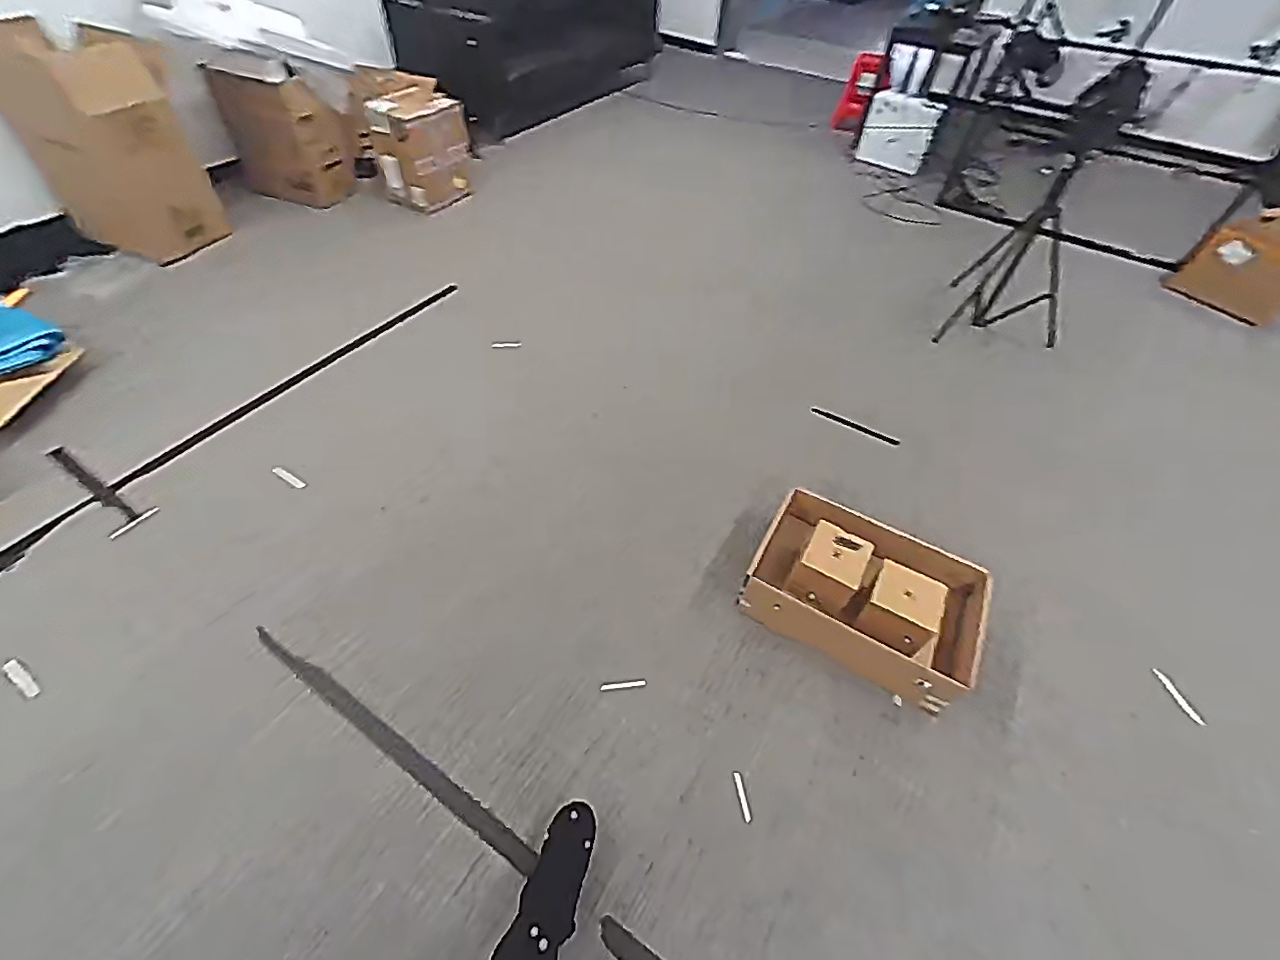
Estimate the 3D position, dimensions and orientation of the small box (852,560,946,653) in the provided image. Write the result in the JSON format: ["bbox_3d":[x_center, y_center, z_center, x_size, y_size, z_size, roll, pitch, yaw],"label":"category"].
[{"bbox_3d":[0.730,0.366,1.535,0.179,0.176,0.168,24,51,18],"label":"small box"}]
